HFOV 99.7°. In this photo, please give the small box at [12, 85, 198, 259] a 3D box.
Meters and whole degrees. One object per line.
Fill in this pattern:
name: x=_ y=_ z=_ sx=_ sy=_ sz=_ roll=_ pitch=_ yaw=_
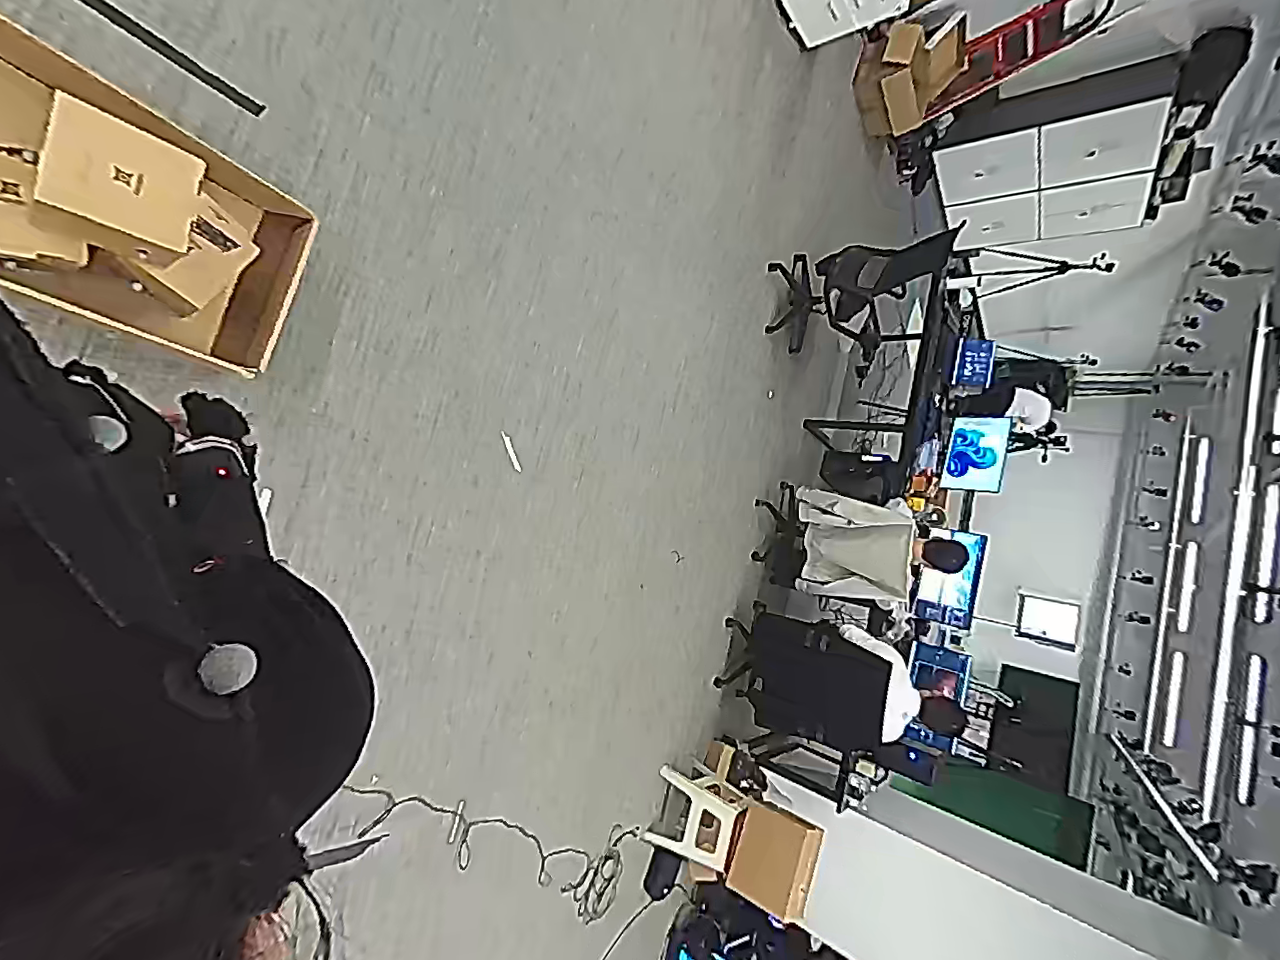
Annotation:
small box: x=-0.858 y=-0.474 z=0.869 sx=0.179 sy=0.176 sz=0.168 roll=13 pitch=85 yaw=-52
